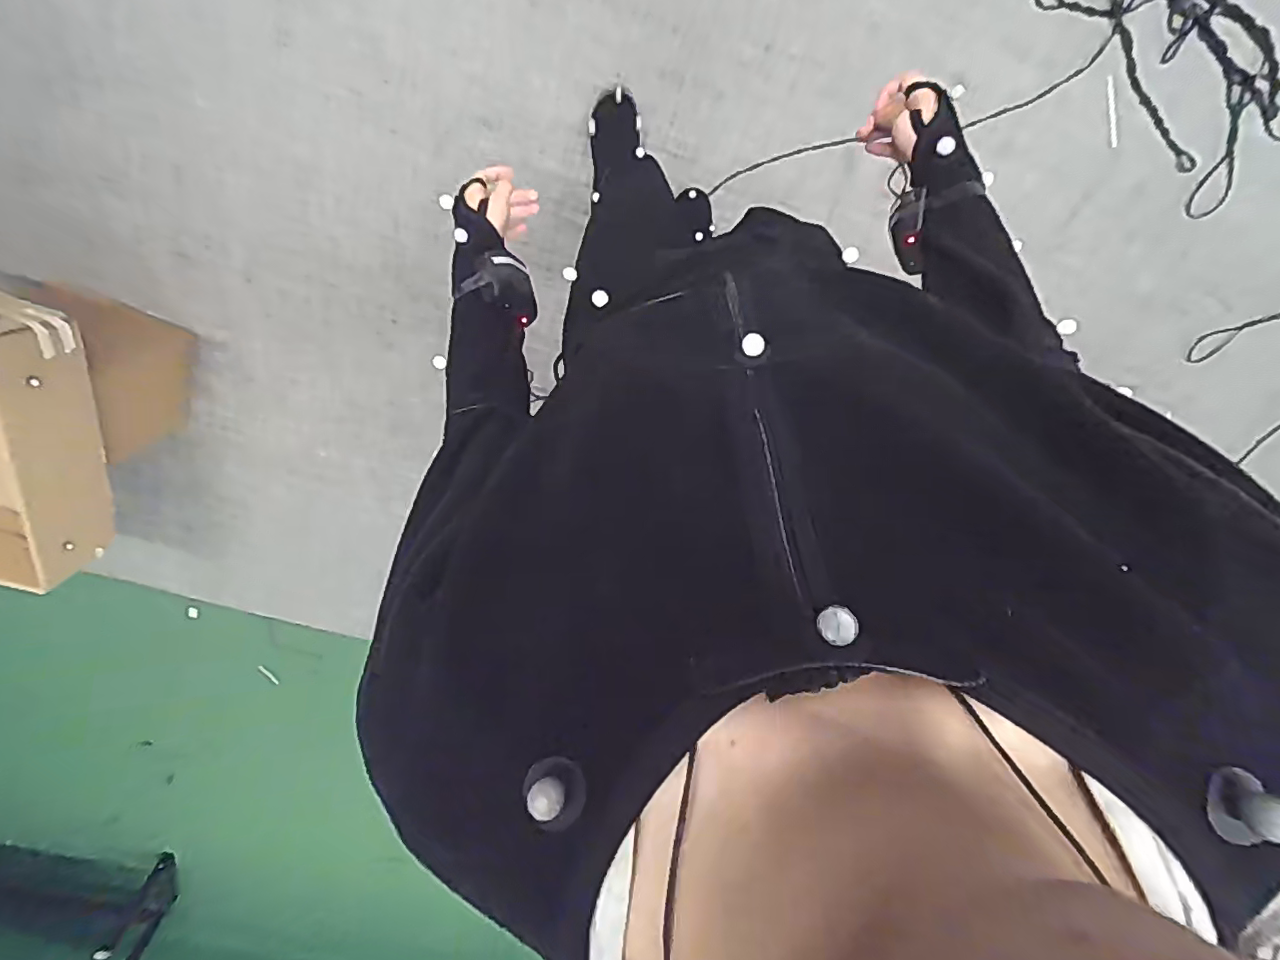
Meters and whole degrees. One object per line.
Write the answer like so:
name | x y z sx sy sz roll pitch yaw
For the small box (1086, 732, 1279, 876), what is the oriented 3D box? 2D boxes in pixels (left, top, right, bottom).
small box | 1.031 0.617 1.041 0.179 0.176 0.168 16 119 -8
